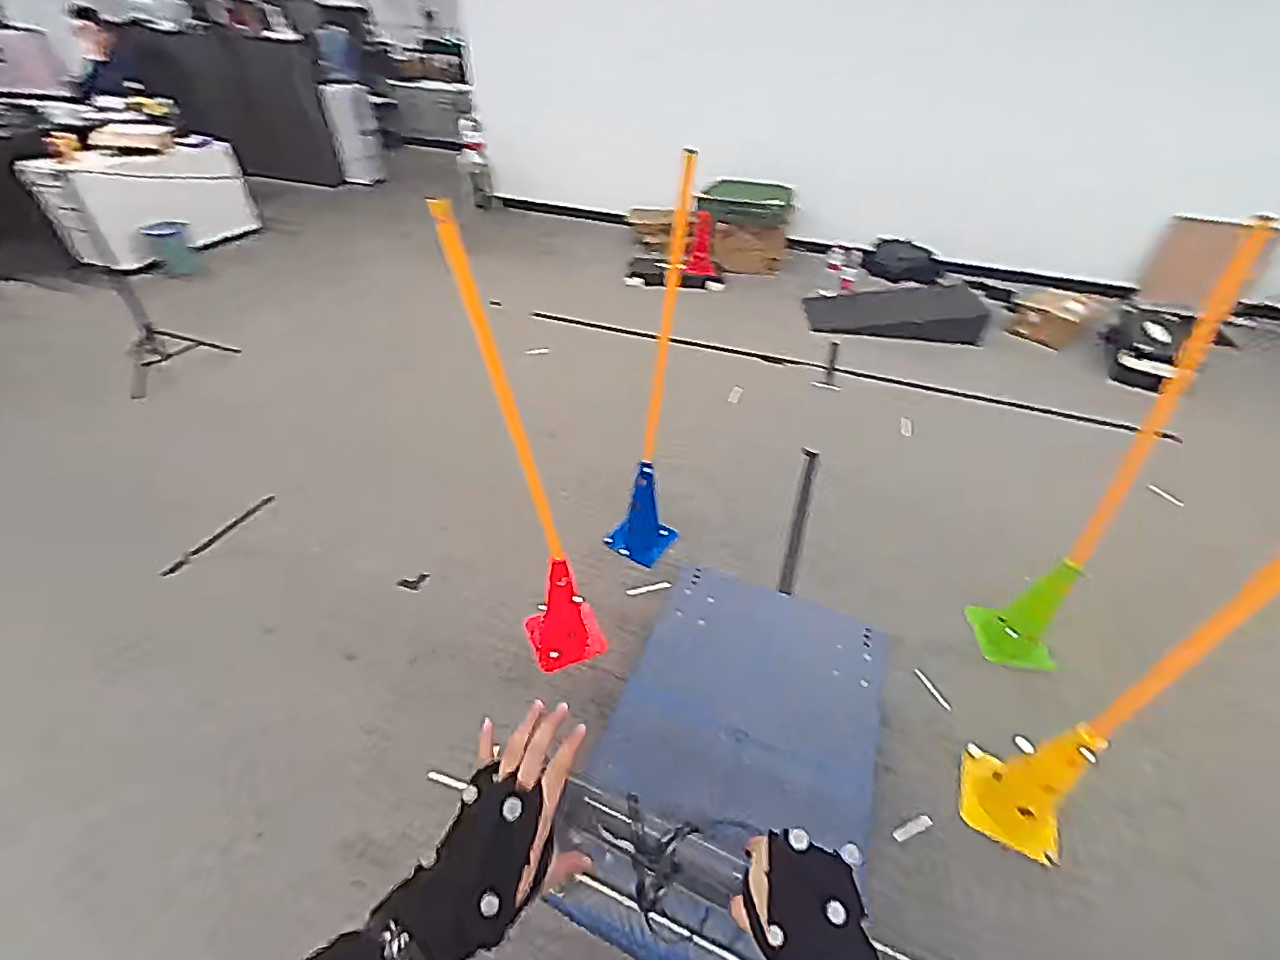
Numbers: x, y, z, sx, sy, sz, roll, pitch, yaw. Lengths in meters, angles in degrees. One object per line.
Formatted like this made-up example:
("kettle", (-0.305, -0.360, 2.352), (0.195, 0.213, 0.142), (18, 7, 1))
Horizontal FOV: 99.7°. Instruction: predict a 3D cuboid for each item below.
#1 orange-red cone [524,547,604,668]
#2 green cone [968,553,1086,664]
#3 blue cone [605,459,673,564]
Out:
("orange-red cone", (-0.214, 0.314, 1.474), (0.199, 0.360, 0.198), (-14, 45, -21))
("green cone", (1.133, 0.335, 1.535), (0.200, 0.368, 0.202), (6, 42, 3))
("blue cone", (0.005, 0.080, 1.781), (0.193, 0.380, 0.192), (26, 47, 24))
